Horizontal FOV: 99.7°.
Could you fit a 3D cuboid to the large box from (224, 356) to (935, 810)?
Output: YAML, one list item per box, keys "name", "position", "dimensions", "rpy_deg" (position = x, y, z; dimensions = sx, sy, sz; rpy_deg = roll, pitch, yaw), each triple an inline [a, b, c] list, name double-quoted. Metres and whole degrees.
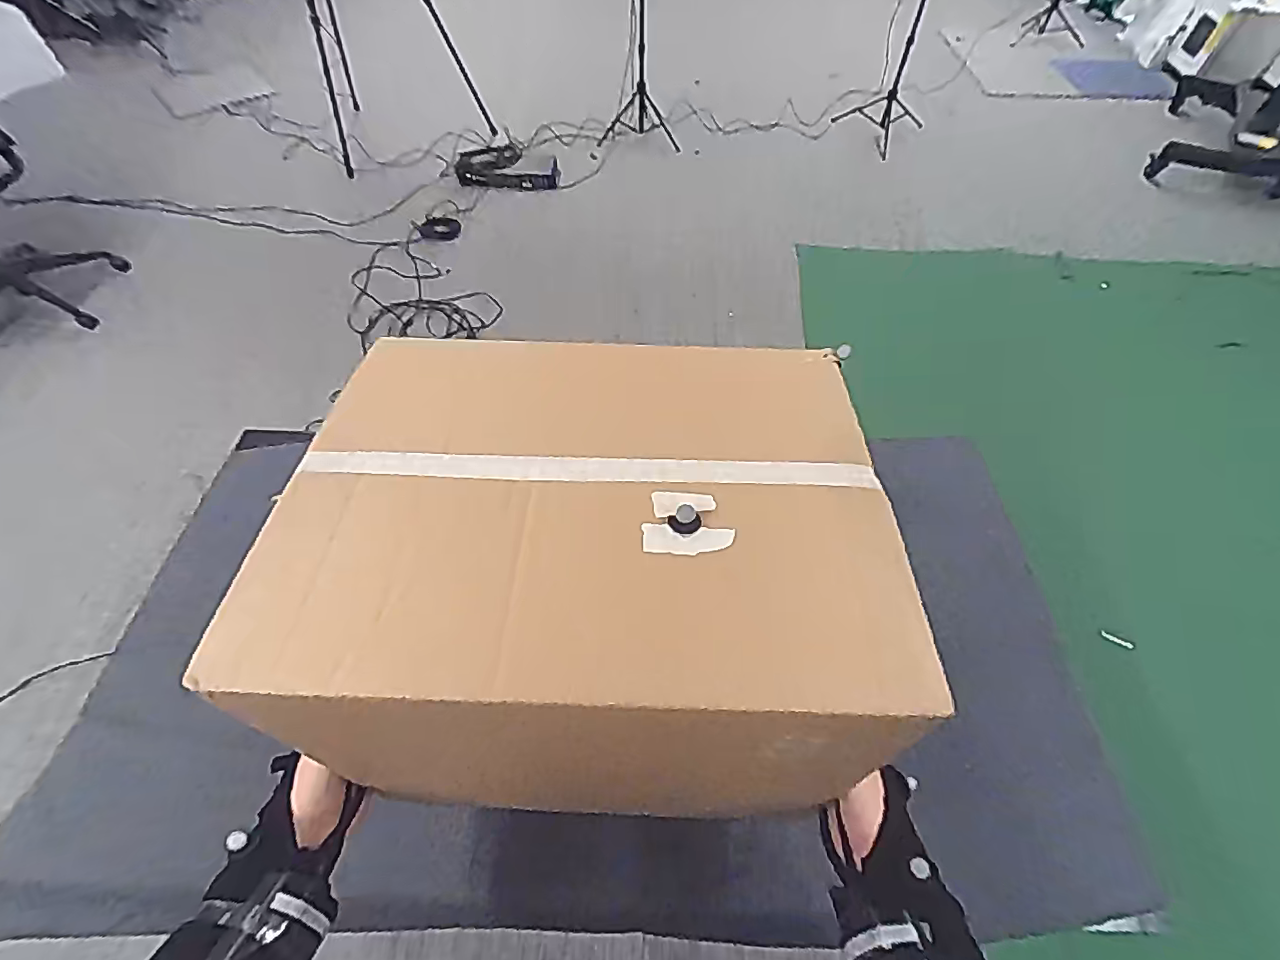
- name: "large box"
  position: [-0.034, 0.103, 0.505]
  dimensions: [0.408, 0.320, 0.320]
  rpy_deg: [2, 50, 0]
